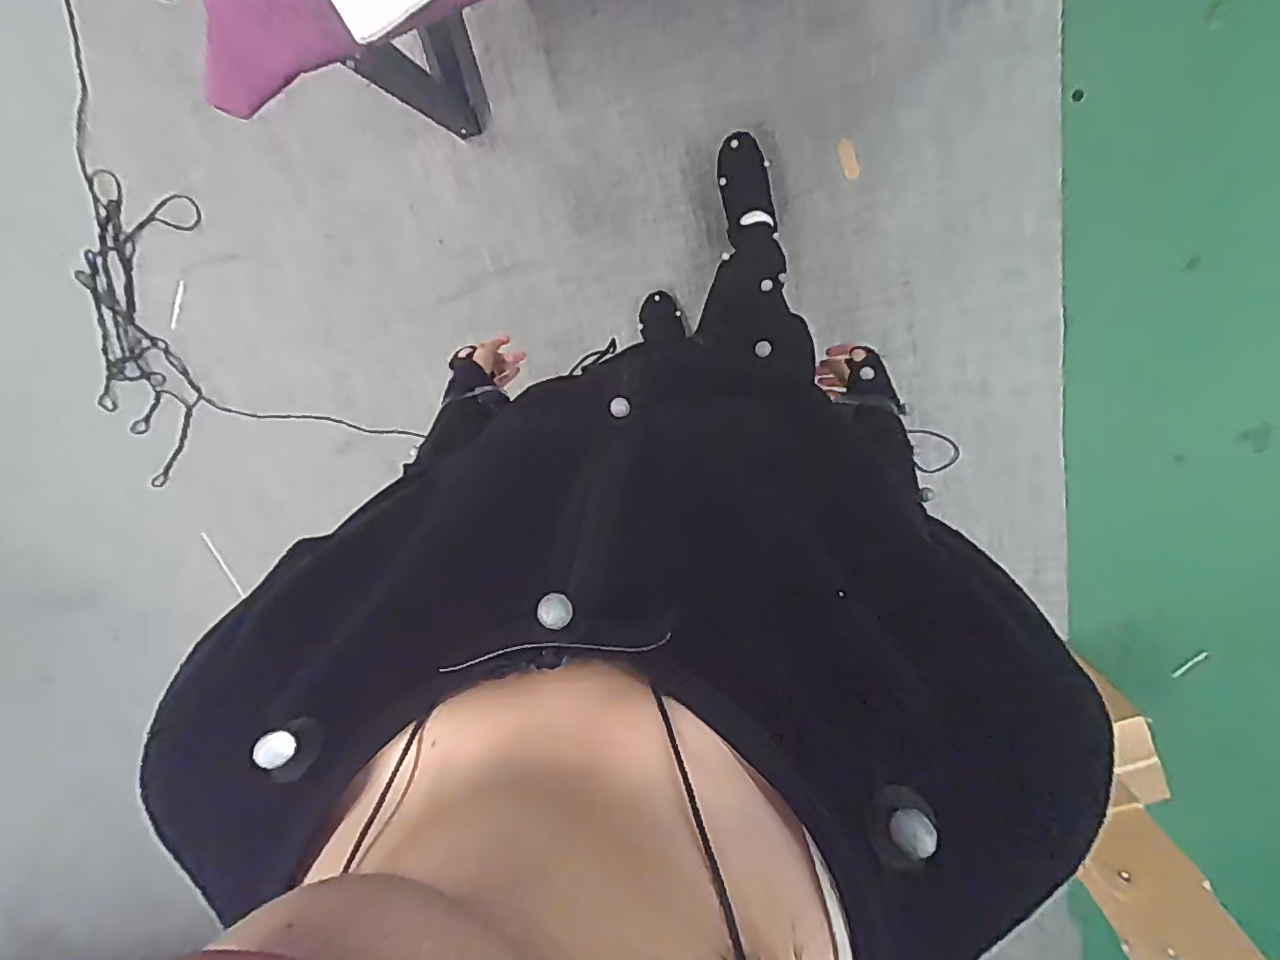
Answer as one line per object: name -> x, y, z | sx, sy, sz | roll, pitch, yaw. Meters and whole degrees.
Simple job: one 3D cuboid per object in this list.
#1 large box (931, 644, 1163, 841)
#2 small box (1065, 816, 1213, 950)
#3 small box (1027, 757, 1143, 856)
large box -> 1.163, 0.757, 1.586 | 0.408, 0.320, 0.320 | -27, 107, 11
small box -> 1.101, 0.888, 1.203 | 0.179, 0.176, 0.168 | -20, 107, 11
small box -> 1.111, 0.826, 1.352 | 0.168, 0.176, 0.179 | -21, 107, 11
